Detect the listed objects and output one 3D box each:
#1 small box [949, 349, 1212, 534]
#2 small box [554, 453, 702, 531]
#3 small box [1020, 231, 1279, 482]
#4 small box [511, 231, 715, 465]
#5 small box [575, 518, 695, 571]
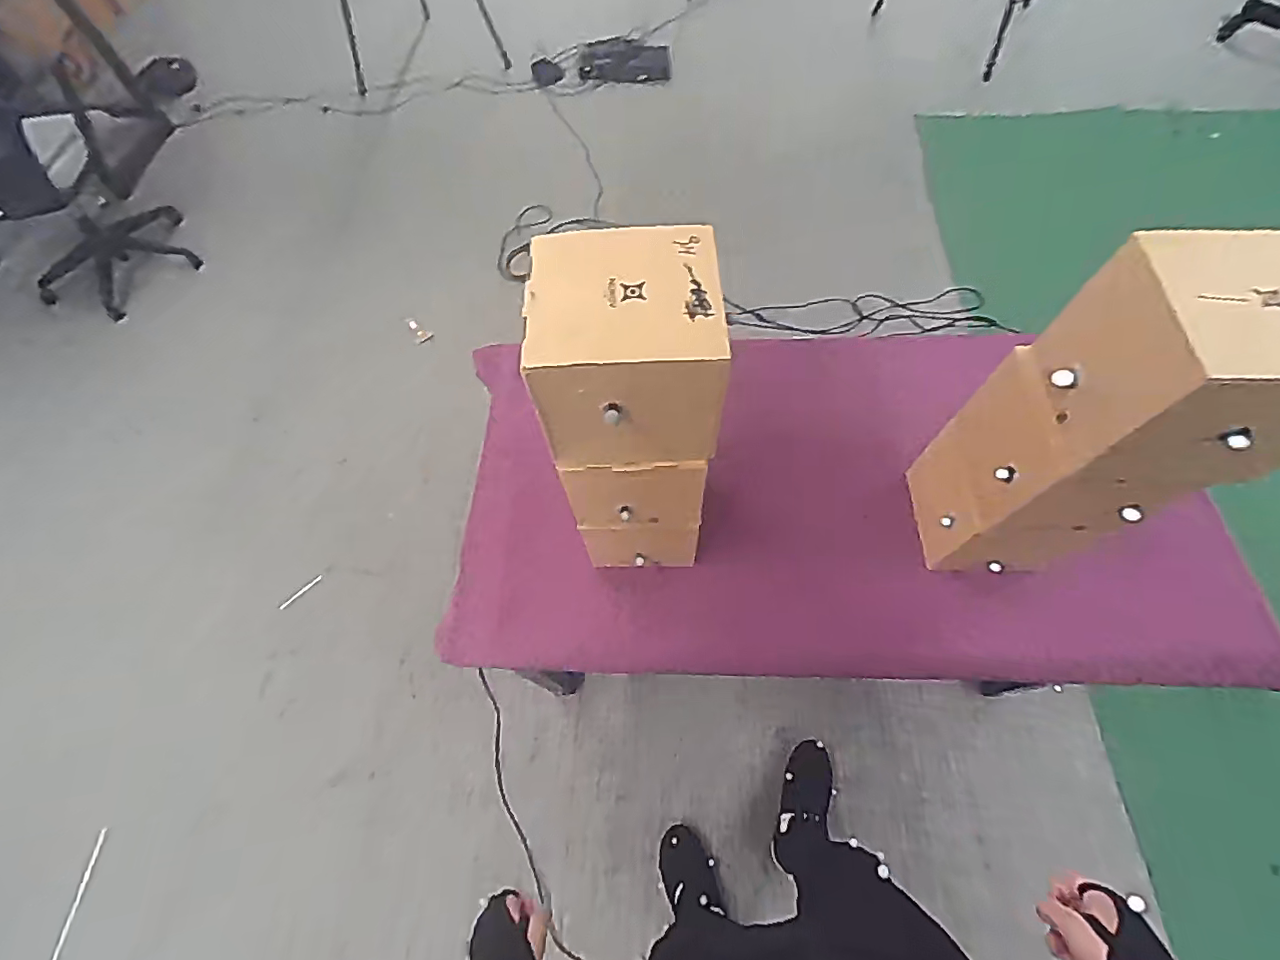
[{"bbox_3d":[0.512,-0.041,0.660,0.168,0.176,0.179,0,62,3],"label":"small box"},{"bbox_3d":[-0.011,-0.046,0.701,0.168,0.176,0.179,-2,62,2],"label":"small box"},{"bbox_3d":[0.511,-0.107,0.510,0.179,0.176,0.168,1,63,5],"label":"small box"},{"bbox_3d":[-0.018,-0.125,0.557,0.179,0.176,0.168,-3,62,3],"label":"small box"},{"bbox_3d":[-0.002,0.031,0.843,0.168,0.176,0.179,-1,62,4],"label":"small box"}]
